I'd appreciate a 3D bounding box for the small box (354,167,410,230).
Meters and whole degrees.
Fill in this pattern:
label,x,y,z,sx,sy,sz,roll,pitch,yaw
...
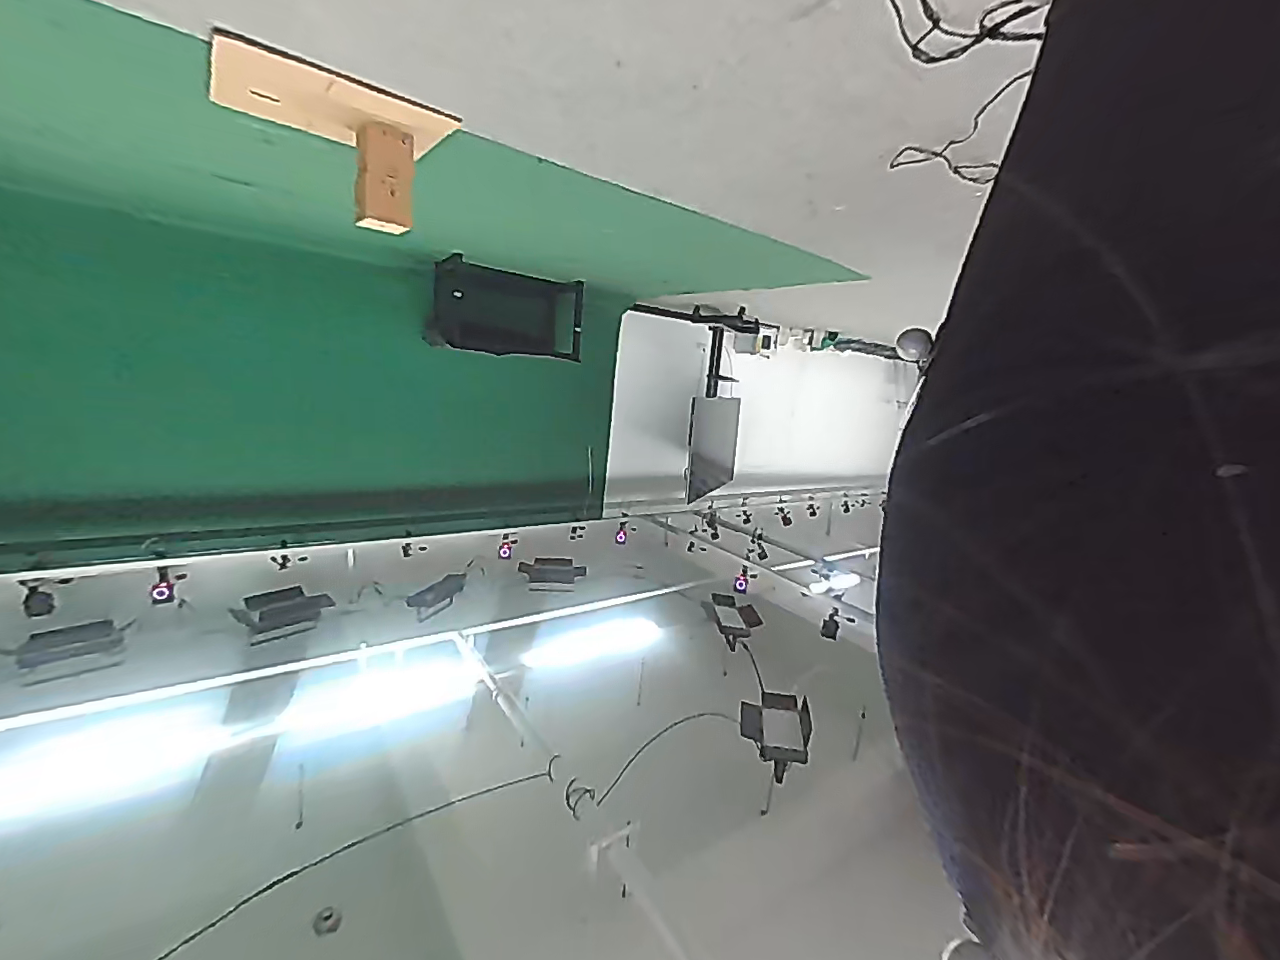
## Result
label,x,y,z,sx,sy,sz,roll,pitch,yaw
small box,-1.013,-1.103,2.127,0.168,0.176,0.179,-4,-165,-41

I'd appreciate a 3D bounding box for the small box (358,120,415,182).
label,x,y,z,sx,sy,sz,roll,pitch,yaw
small box,-0.985,-1.259,2.089,0.168,0.176,0.179,-4,-164,-40
